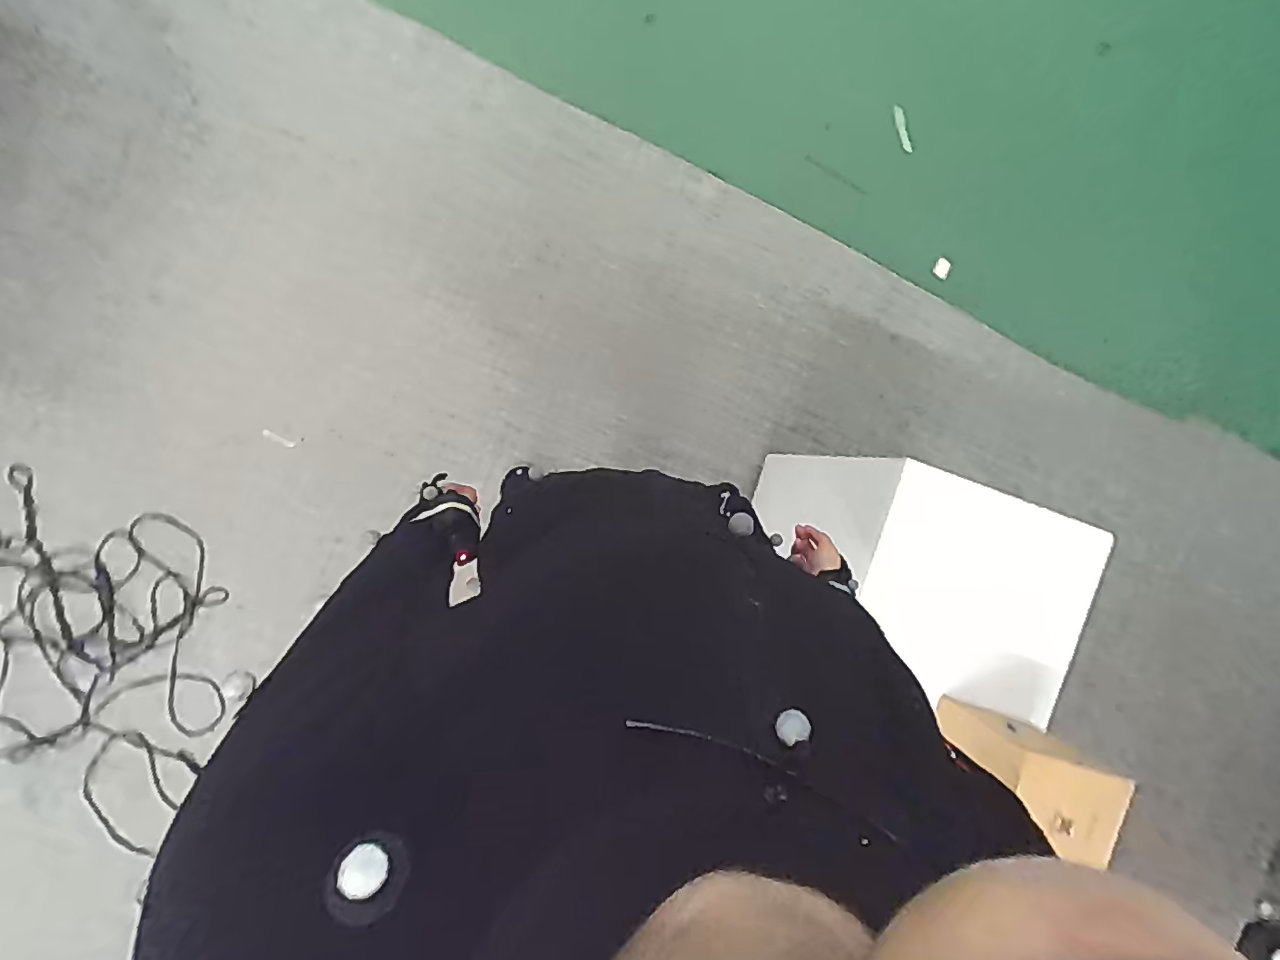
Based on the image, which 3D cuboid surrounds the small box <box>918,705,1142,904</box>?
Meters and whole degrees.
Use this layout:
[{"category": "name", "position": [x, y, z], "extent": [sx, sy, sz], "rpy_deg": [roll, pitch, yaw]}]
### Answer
[{"category": "small box", "position": [0.544, 0.450, 0.778], "extent": [0.179, 0.176, 0.168], "rpy_deg": [19, 90, -10]}]
